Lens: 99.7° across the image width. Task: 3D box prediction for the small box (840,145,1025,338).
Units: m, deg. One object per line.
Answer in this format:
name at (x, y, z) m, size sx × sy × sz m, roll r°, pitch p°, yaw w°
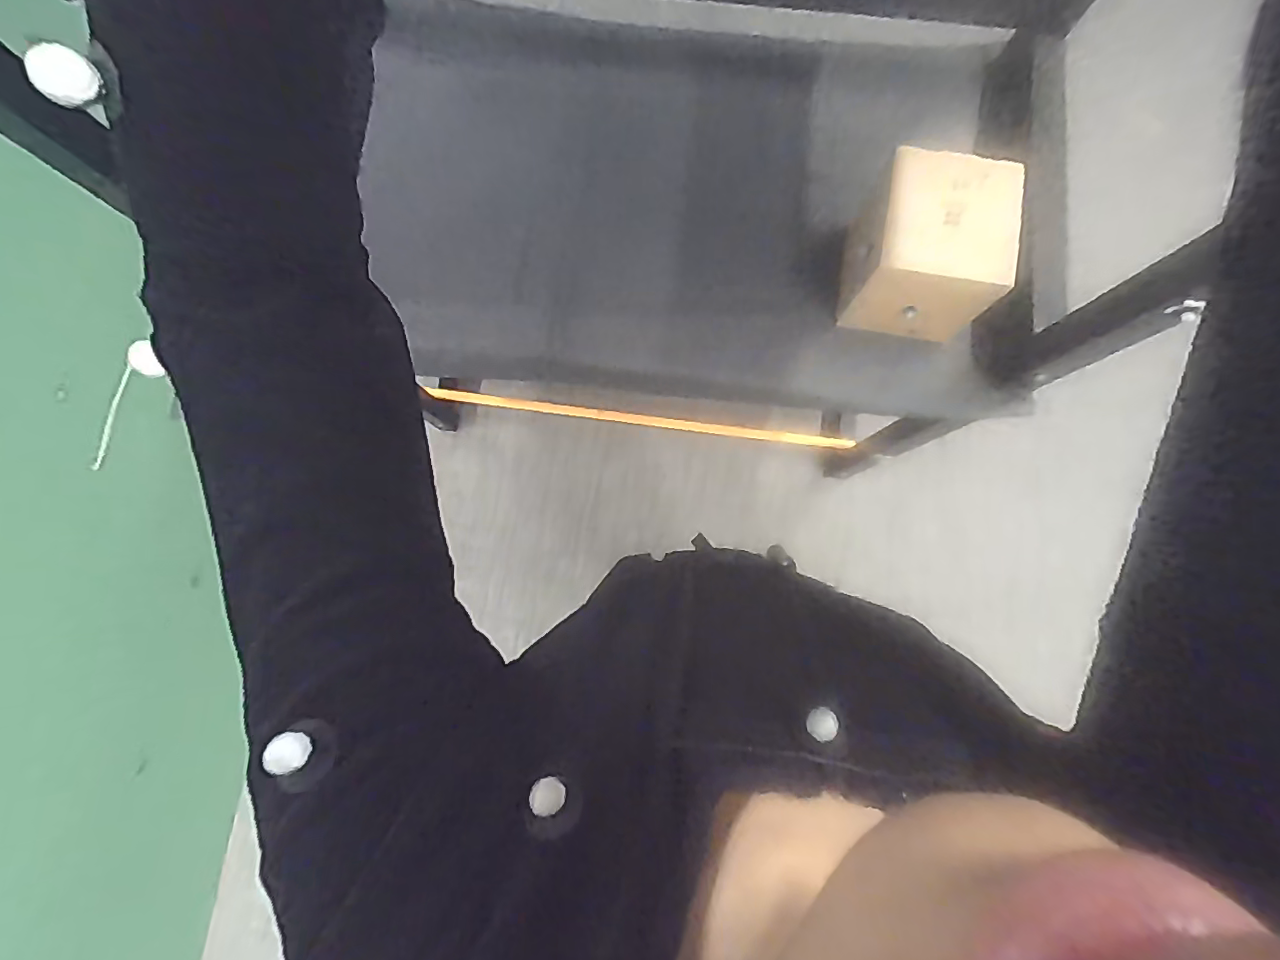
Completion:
small box at (0.394, -0.320, 0.757) m, size 0.168 × 0.176 × 0.179 m, roll 11°, pitch 81°, yaw 2°
